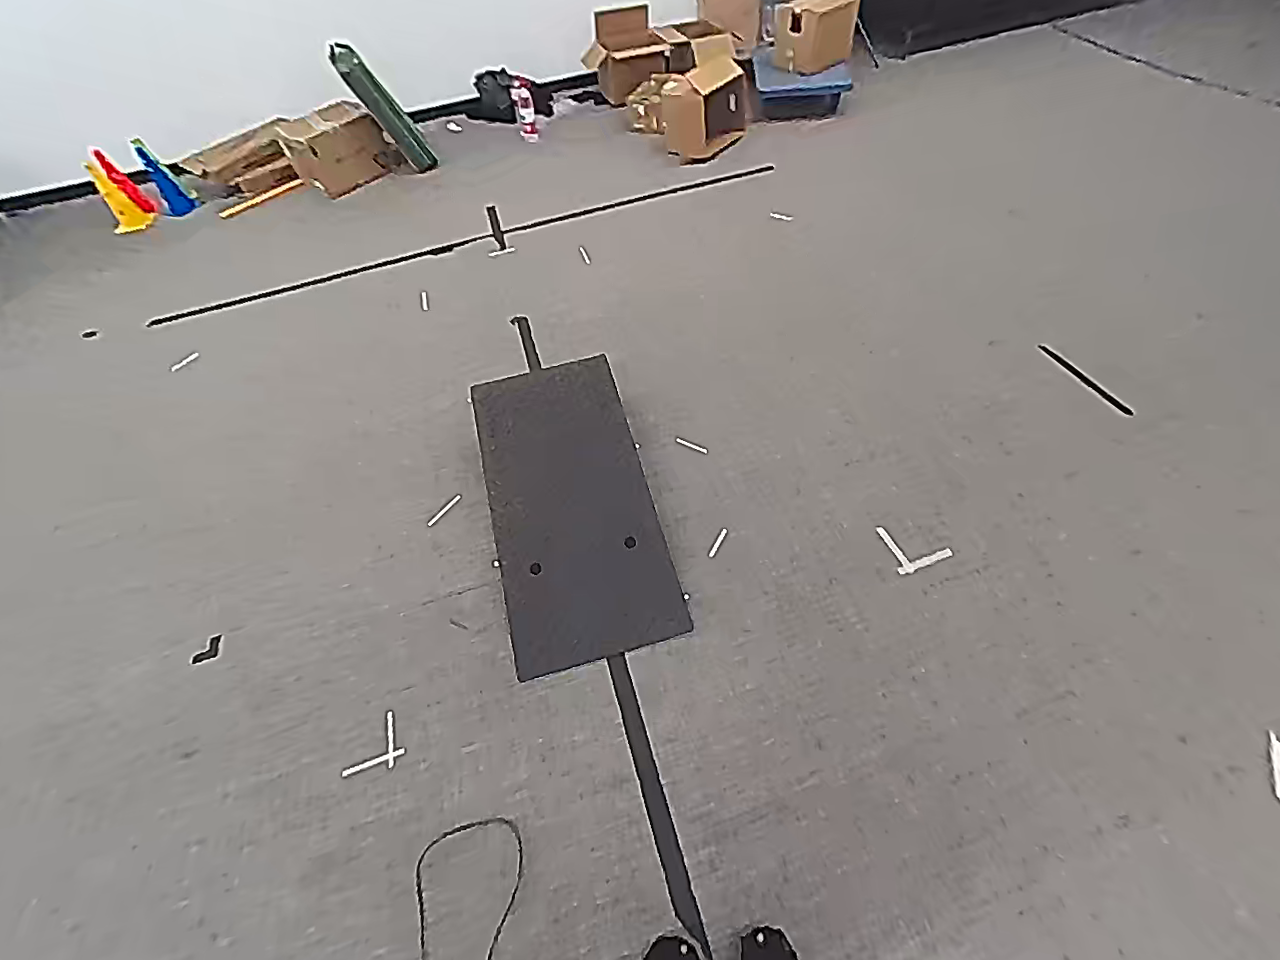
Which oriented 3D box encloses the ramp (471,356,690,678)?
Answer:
[{"bbox_3d":[-0.221,0.046,1.682,0.509,0.206,0.991,-16,53,-7],"label":"ramp"}]
